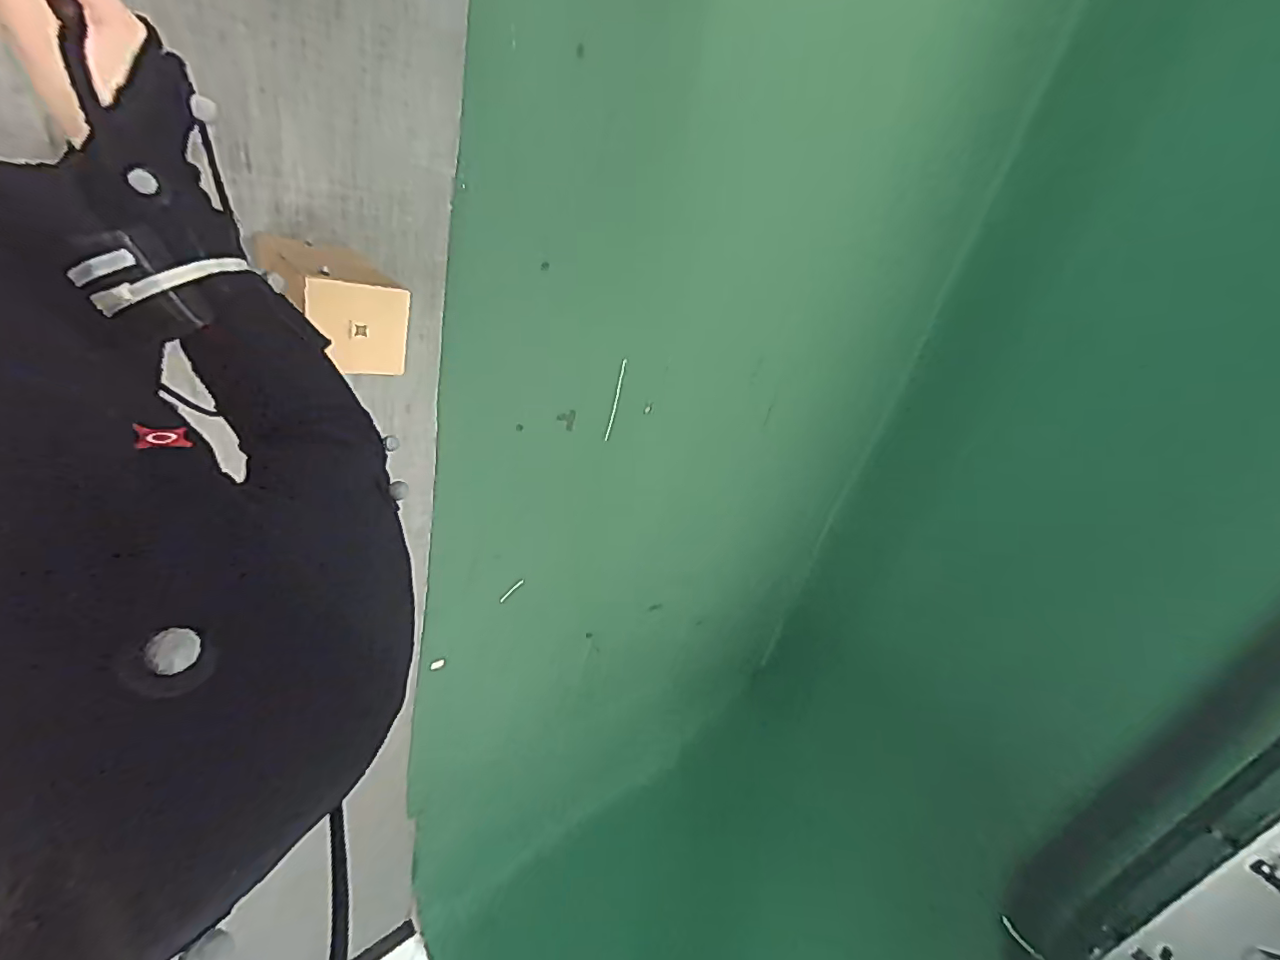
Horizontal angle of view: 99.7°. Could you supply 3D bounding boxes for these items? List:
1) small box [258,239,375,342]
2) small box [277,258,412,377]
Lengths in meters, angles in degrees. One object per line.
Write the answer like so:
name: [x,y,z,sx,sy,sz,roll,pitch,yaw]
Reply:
small box: [-0.661,-0.381,1.102,0.179,0.176,0.168,-10,126,-42]
small box: [-0.553,-0.301,1.007,0.179,0.176,0.168,-9,125,-44]
